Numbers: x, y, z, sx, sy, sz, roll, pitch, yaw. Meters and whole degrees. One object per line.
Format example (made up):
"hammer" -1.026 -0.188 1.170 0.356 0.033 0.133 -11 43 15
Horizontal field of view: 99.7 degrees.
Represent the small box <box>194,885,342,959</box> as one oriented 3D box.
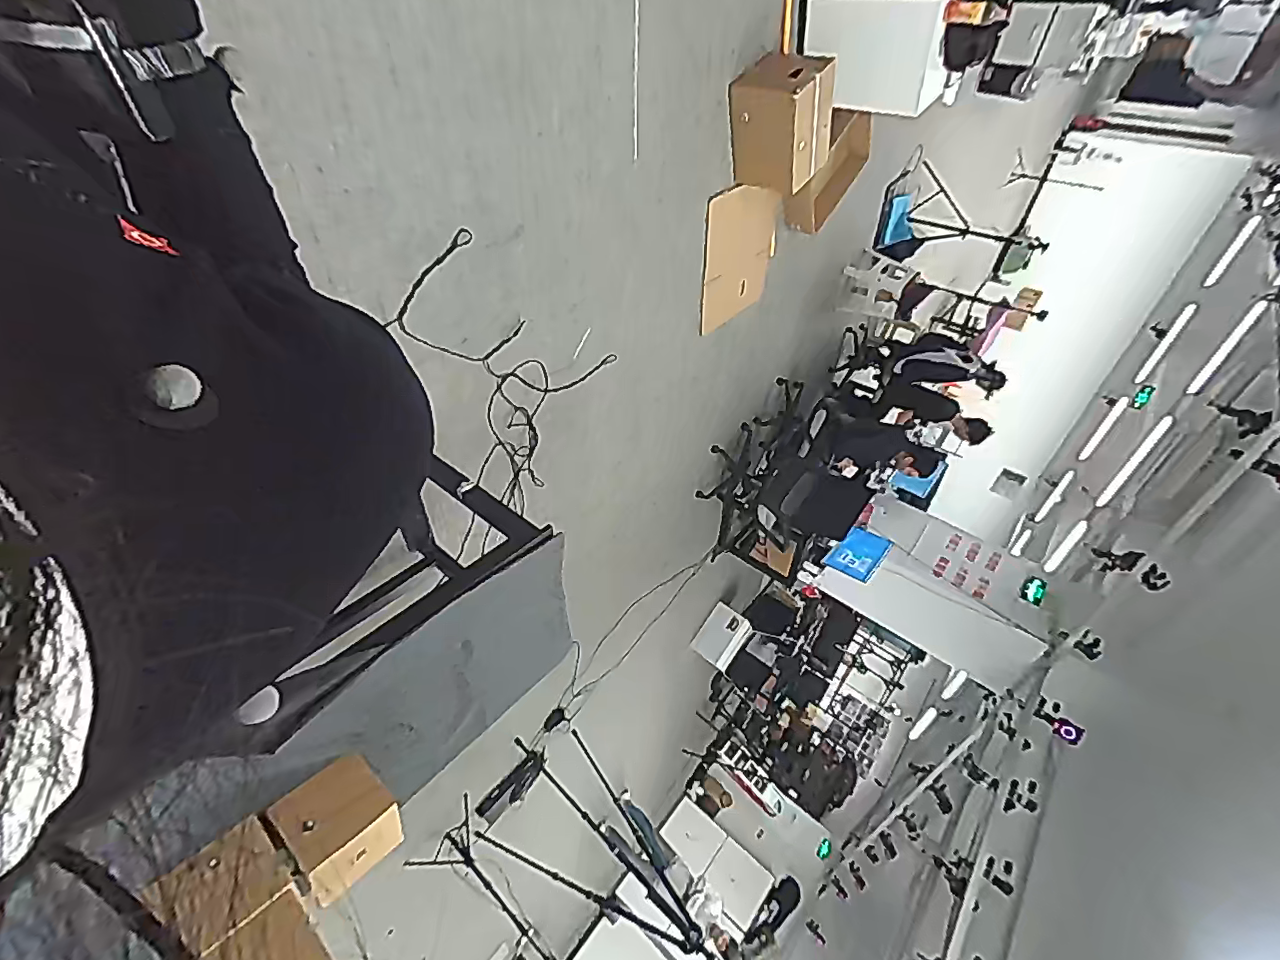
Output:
"small box" -0.614 0.833 0.898 0.179 0.176 0.168 -27 137 -43
